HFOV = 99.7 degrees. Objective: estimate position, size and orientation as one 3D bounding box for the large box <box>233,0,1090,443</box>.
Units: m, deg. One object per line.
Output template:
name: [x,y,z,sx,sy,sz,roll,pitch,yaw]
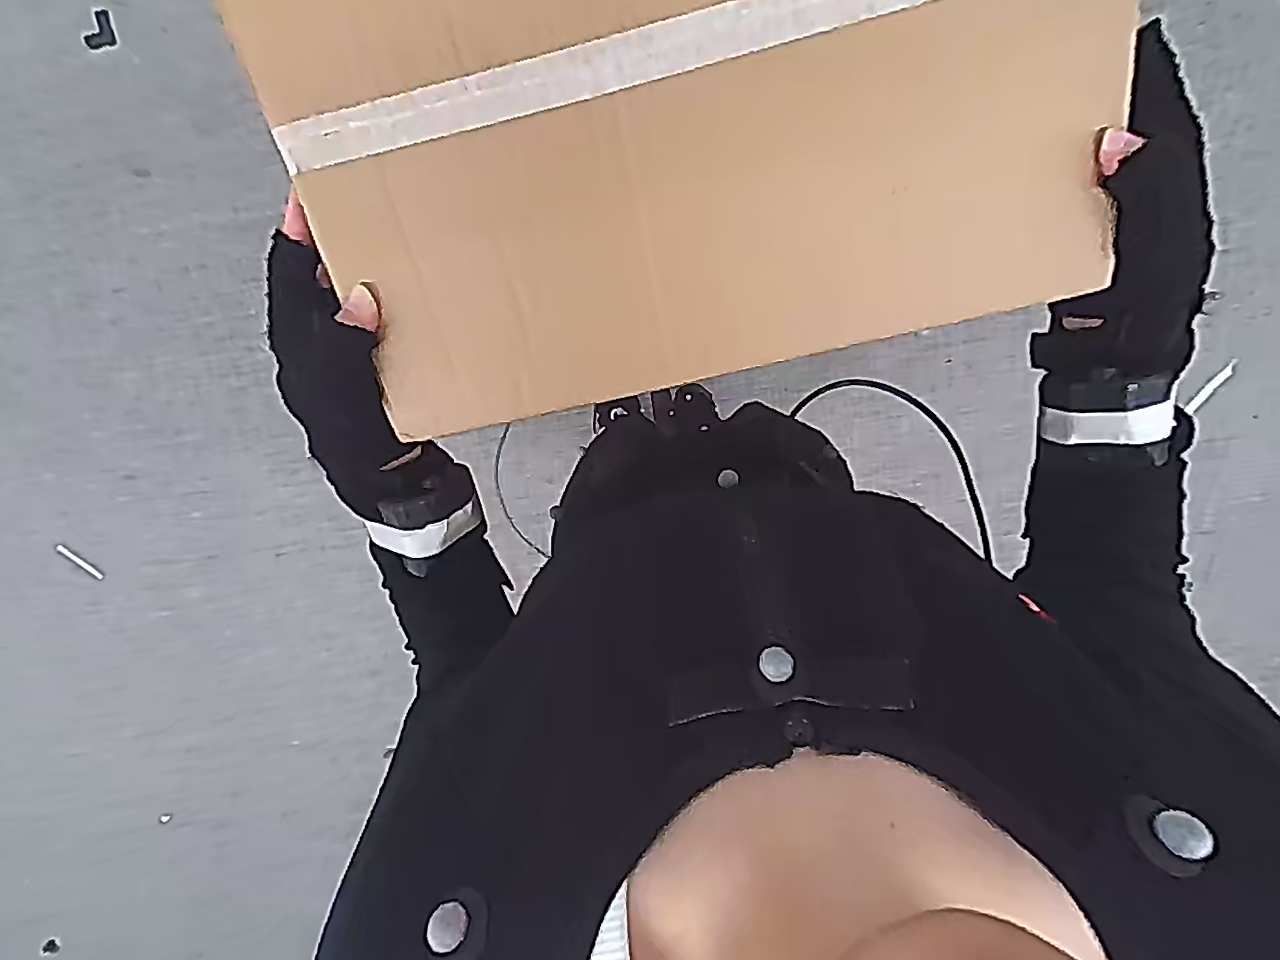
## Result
large box: [0.018,-0.258,0.402,0.408,0.320,0.320,-12,110,5]
